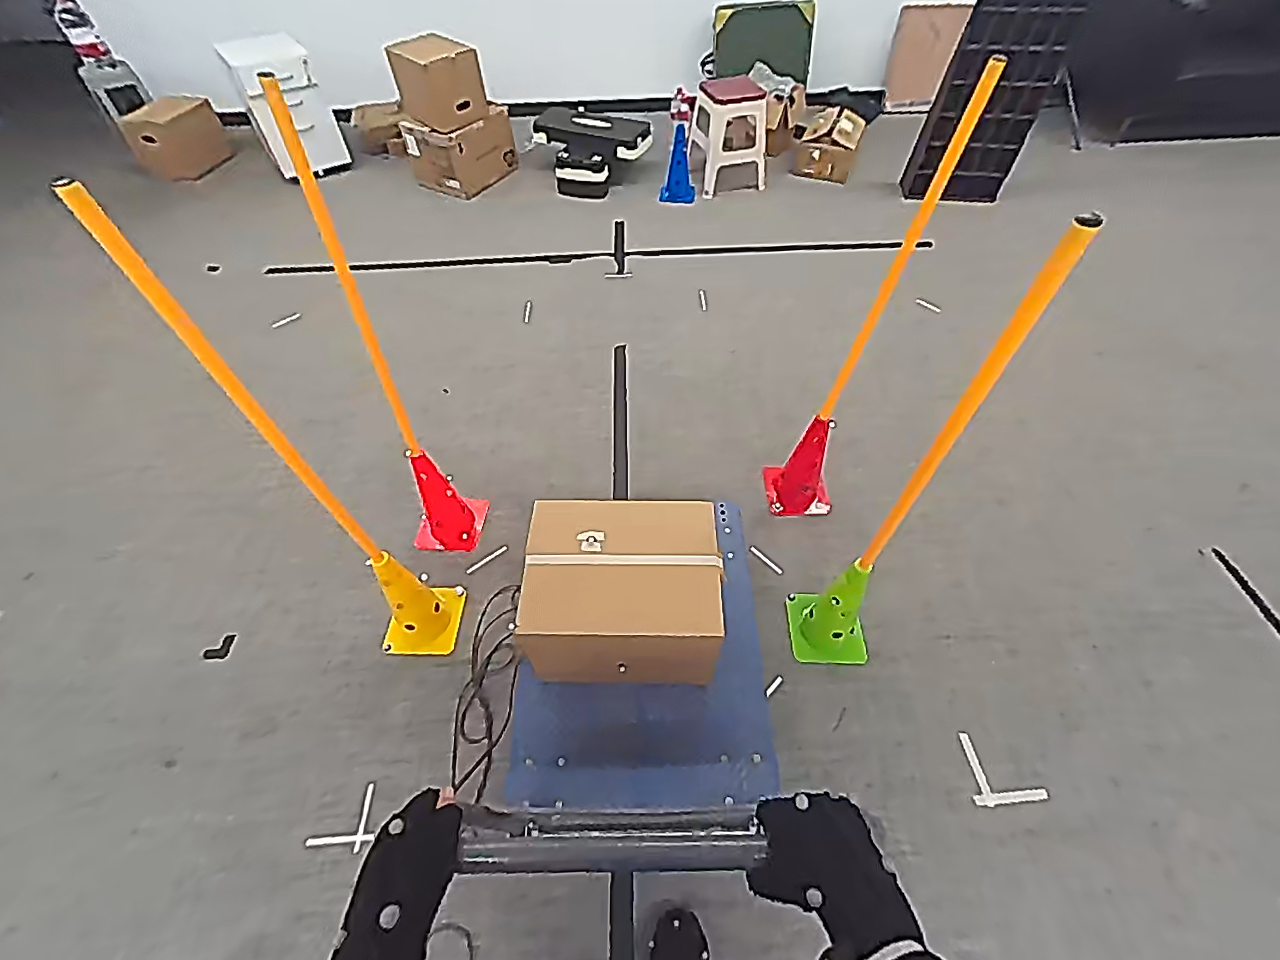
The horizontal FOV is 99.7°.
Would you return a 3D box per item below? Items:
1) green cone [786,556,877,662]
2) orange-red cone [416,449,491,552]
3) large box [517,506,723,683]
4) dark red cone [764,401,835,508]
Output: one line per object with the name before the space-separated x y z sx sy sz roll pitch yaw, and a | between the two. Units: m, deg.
green cone | 0.522 0.306 1.387 0.202 0.368 0.200 2 52 1
orange-red cone | -0.600 0.035 1.625 0.198 0.360 0.199 4 51 3
large box | -0.033 0.271 1.246 0.408 0.320 0.320 0 53 2
dark red cone | 0.526 -0.088 1.671 0.201 0.394 0.202 -1 52 -2
